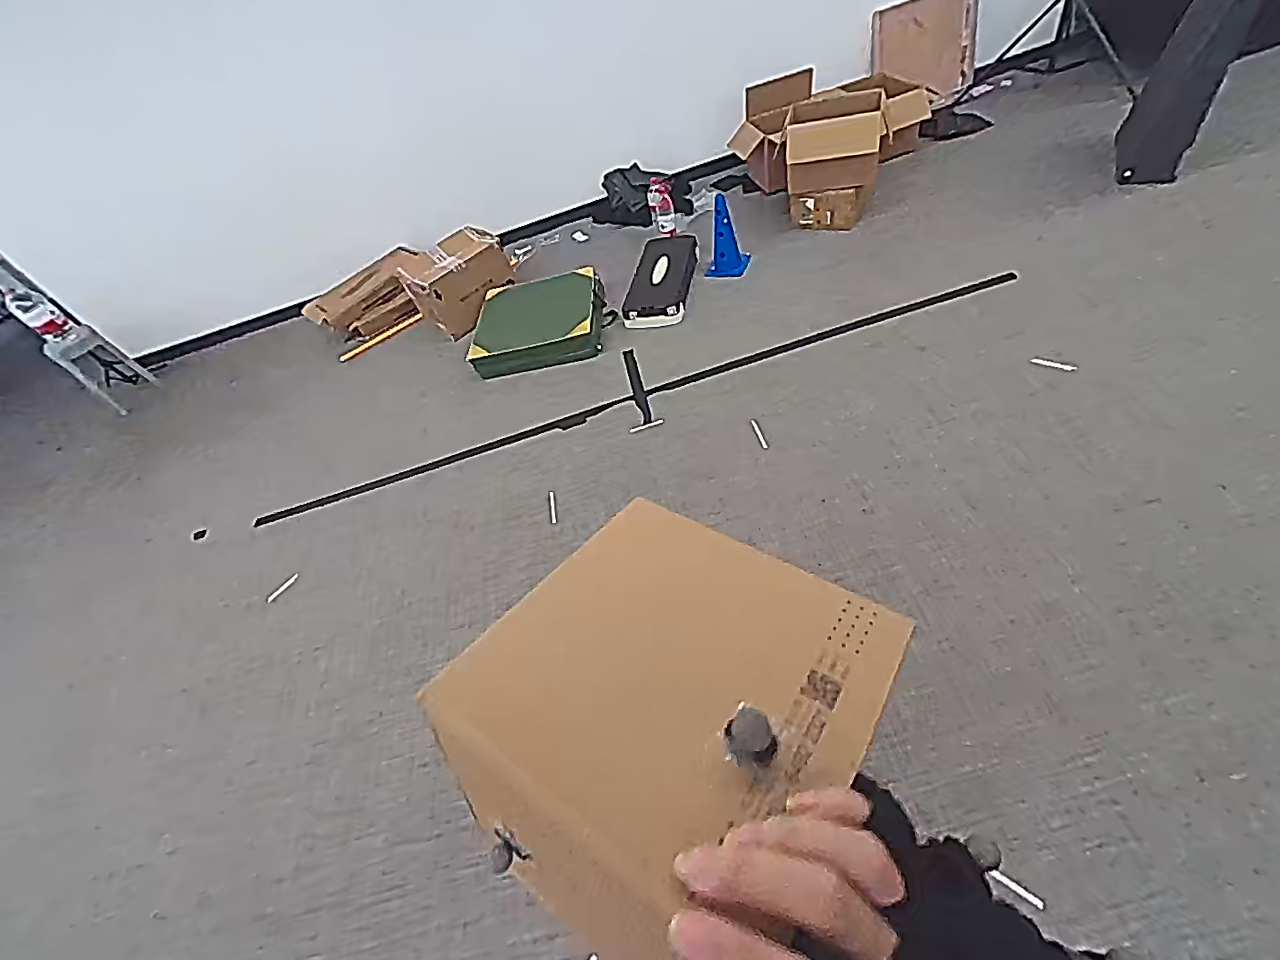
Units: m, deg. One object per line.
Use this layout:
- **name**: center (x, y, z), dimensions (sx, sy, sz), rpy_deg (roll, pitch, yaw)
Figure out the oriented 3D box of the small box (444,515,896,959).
- **small box**: center (0.022, 0.157, 0.314), dimensions (0.176, 0.179, 0.168), rpy_deg (23, 42, 27)
